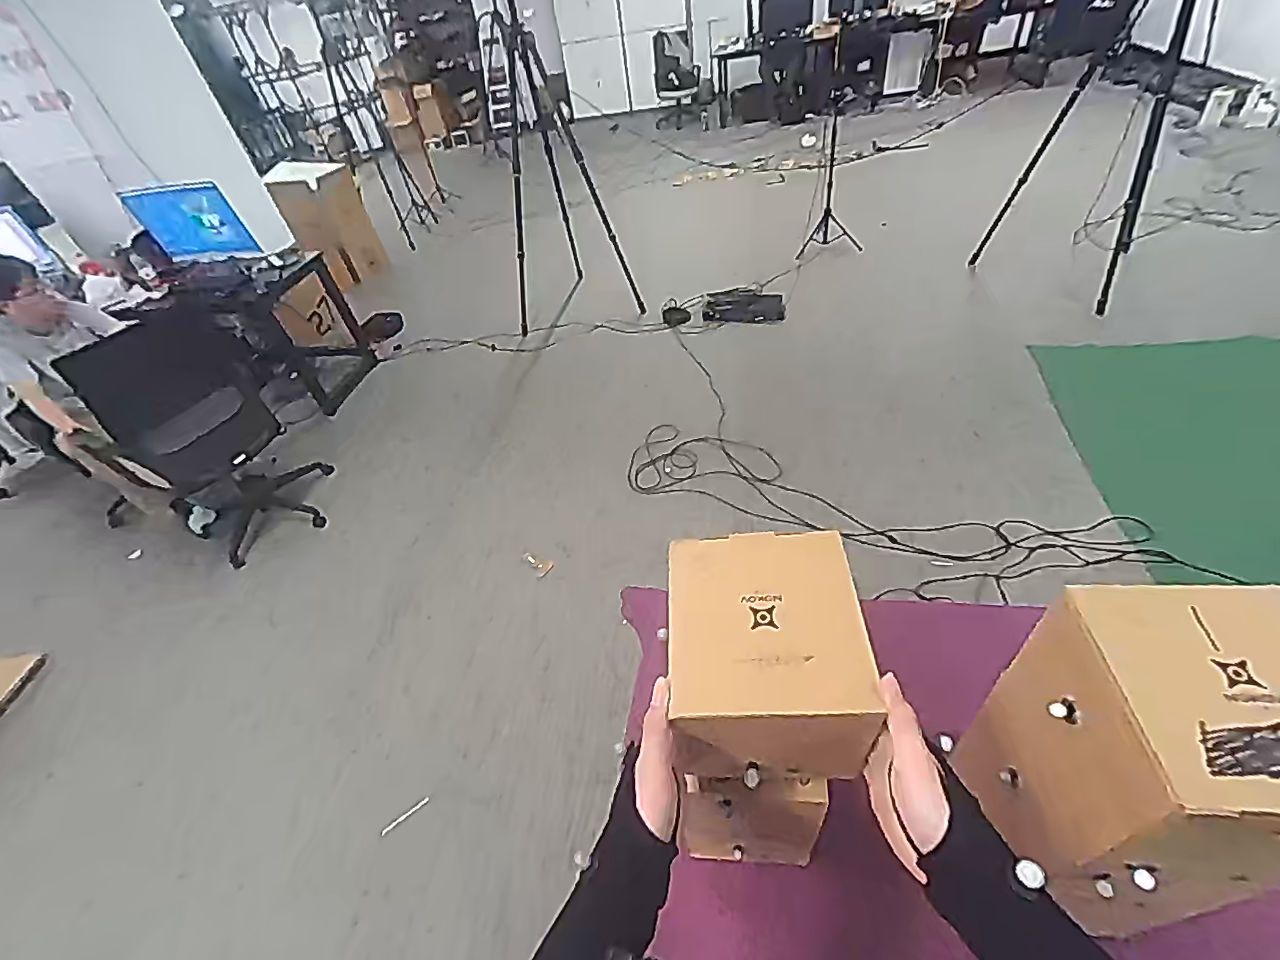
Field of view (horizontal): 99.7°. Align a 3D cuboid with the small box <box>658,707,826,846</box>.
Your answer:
[{"bbox_3d":[0.118,0.305,0.642,0.168,0.176,0.179,-2,43,11],"label":"small box"}]

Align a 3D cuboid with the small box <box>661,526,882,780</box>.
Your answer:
[{"bbox_3d":[0.113,0.166,0.519,0.168,0.176,0.179,-4,46,8],"label":"small box"}]

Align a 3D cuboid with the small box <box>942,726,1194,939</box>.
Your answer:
[{"bbox_3d":[0.495,0.431,0.665,0.168,0.176,0.179,-1,44,12],"label":"small box"}]

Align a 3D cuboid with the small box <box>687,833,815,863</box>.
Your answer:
[{"bbox_3d":[0.145,0.413,0.763,0.168,0.176,0.179,-3,44,9],"label":"small box"}]
